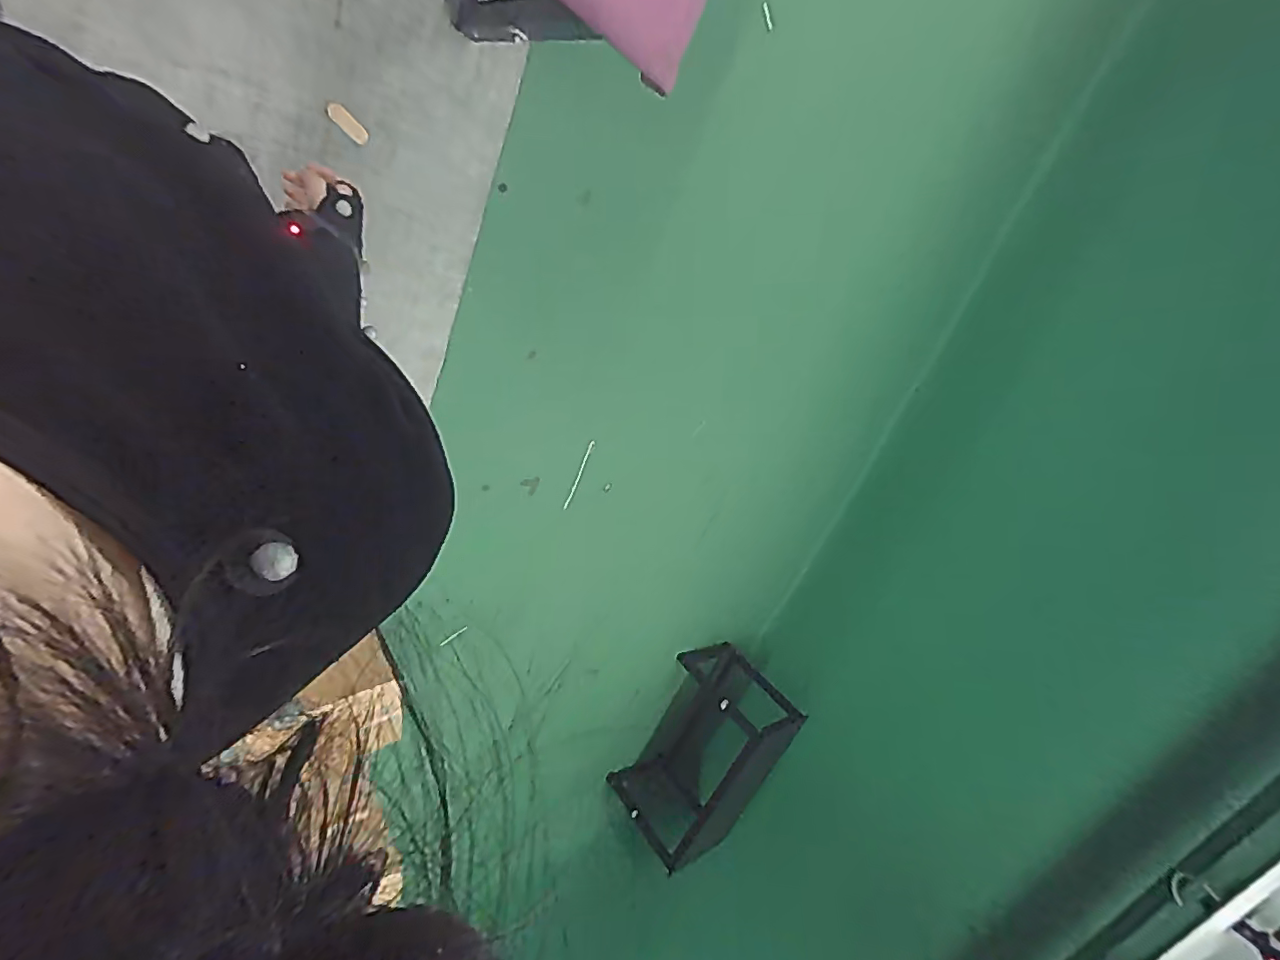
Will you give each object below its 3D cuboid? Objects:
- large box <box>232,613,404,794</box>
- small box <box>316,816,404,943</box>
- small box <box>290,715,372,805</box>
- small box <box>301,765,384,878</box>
[{"bbox_3d":[-1.025,0.696,1.744,0.408,0.320,0.320,-14,130,-38],"label":"large box"},{"bbox_3d":[-0.710,0.994,1.368,0.168,0.176,0.179,-8,124,-39],"label":"small box"},{"bbox_3d":[-0.900,0.824,1.575,0.179,0.176,0.168,-9,125,-39],"label":"small box"},{"bbox_3d":[-0.811,0.911,1.467,0.168,0.176,0.179,-7,124,-40],"label":"small box"}]
